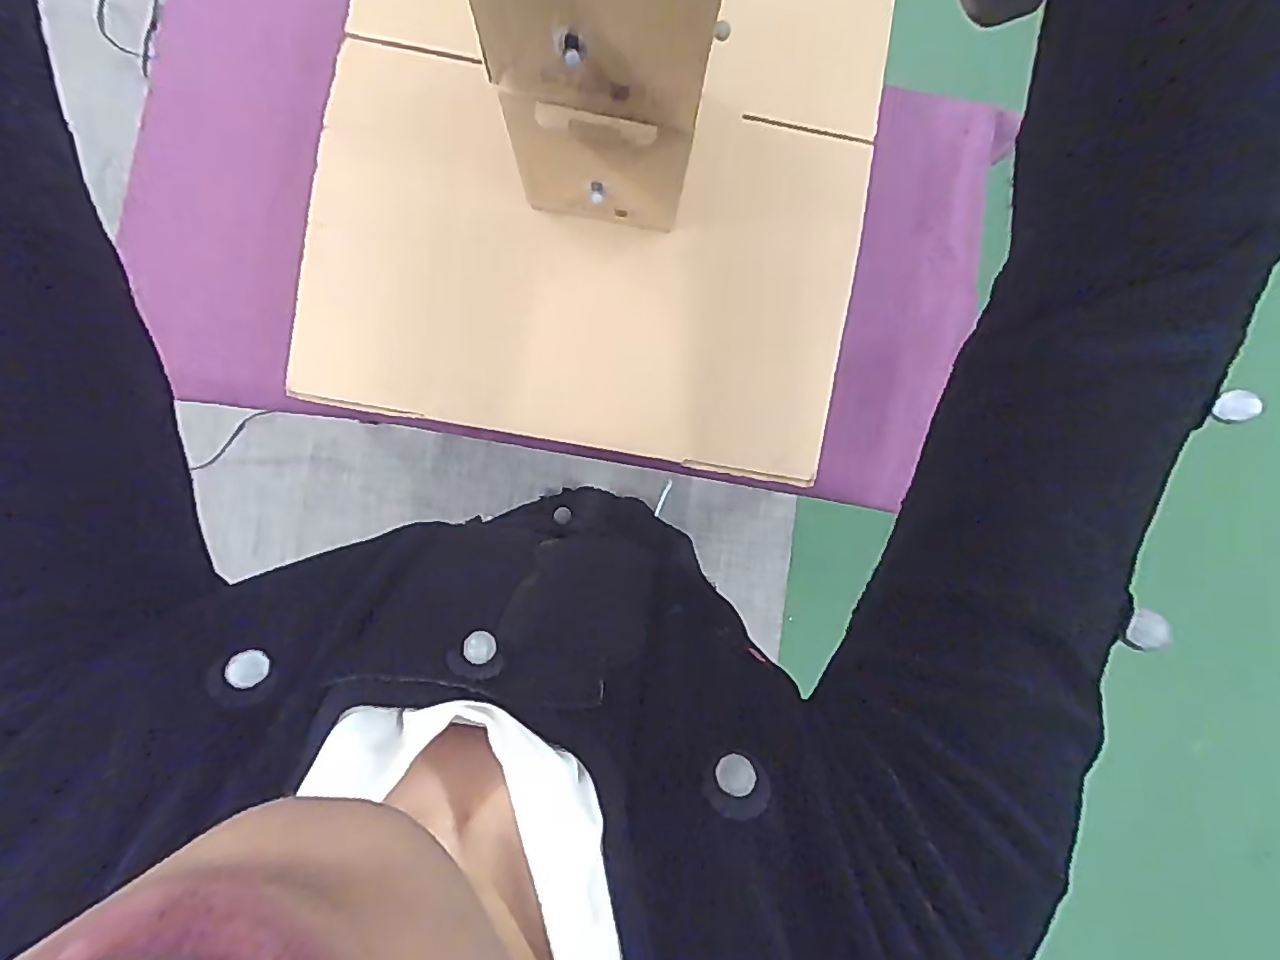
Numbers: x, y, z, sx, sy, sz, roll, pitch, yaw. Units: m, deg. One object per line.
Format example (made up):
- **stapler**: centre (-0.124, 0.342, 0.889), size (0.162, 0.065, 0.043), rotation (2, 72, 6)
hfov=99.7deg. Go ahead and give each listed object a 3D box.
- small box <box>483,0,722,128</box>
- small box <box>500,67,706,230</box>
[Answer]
- **small box**: centre (-0.017, -0.391, 0.367), size (0.168, 0.176, 0.179), rotation (10, 86, -3)
- **small box**: centre (-0.025, -0.382, 0.529), size (0.168, 0.176, 0.179), rotation (10, 86, -2)
